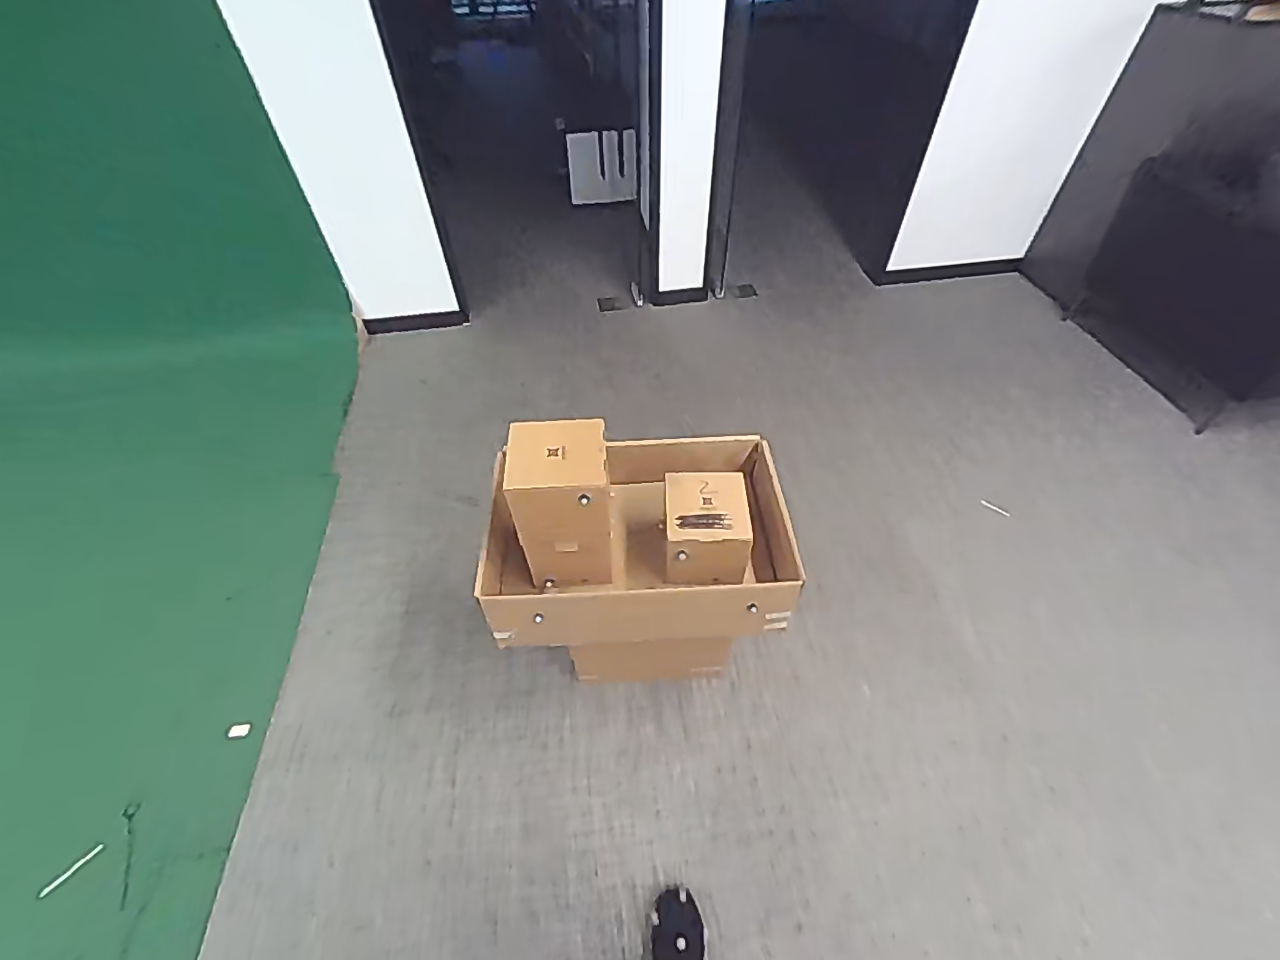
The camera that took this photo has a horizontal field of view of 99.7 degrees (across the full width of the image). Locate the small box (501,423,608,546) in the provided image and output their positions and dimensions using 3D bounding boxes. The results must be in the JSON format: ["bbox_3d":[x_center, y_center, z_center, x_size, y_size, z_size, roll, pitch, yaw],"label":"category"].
[{"bbox_3d":[-0.152,0.012,1.015,0.179,0.176,0.168,-2,49,-4],"label":"small box"}]
